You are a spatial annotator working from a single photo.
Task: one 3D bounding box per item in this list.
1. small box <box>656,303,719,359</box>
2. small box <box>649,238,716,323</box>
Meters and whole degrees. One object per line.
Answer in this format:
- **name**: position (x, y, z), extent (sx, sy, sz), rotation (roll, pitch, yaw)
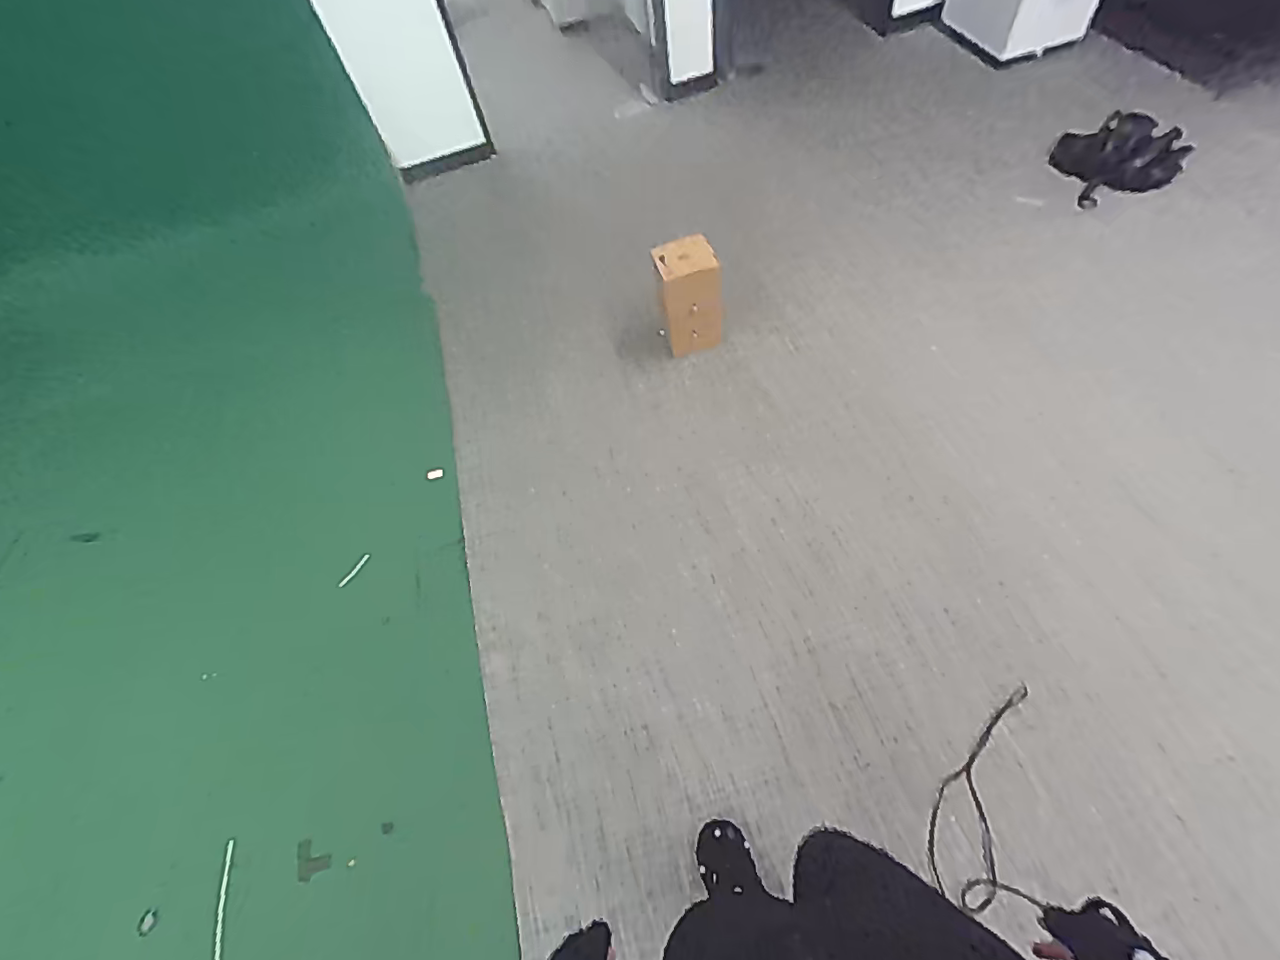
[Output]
- **small box**: position (0.161, -0.548, 1.866), extent (0.179, 0.176, 0.168), rotation (-19, 59, -3)
- **small box**: position (0.136, -0.632, 1.727), extent (0.179, 0.176, 0.168), rotation (-16, 58, -1)
